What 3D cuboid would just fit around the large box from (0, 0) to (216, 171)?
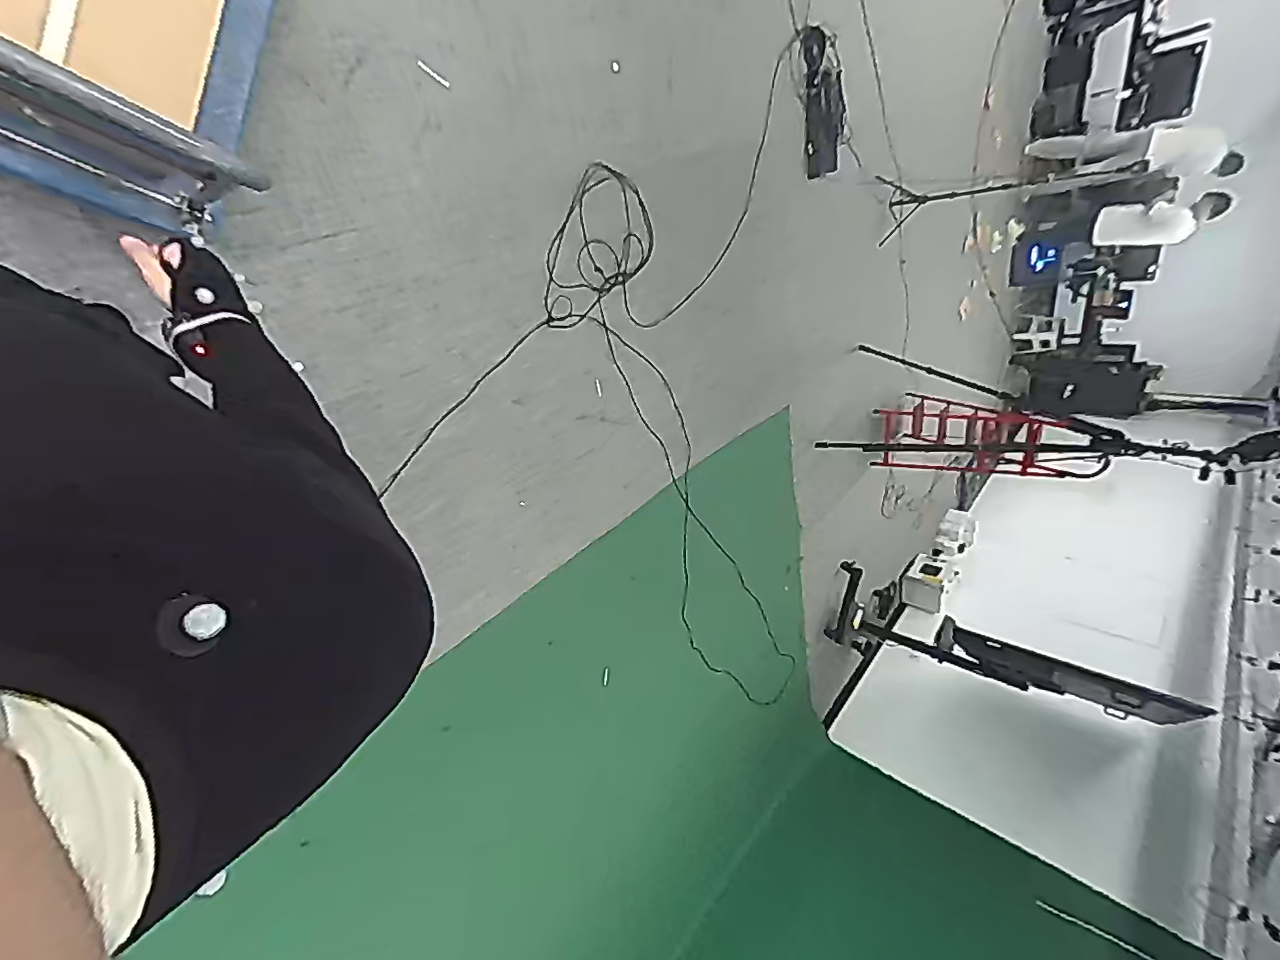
[{"bbox_3d":[-0.888,-0.787,0.845,0.320,0.320,0.408,14,90,-48],"label":"large box"}]
